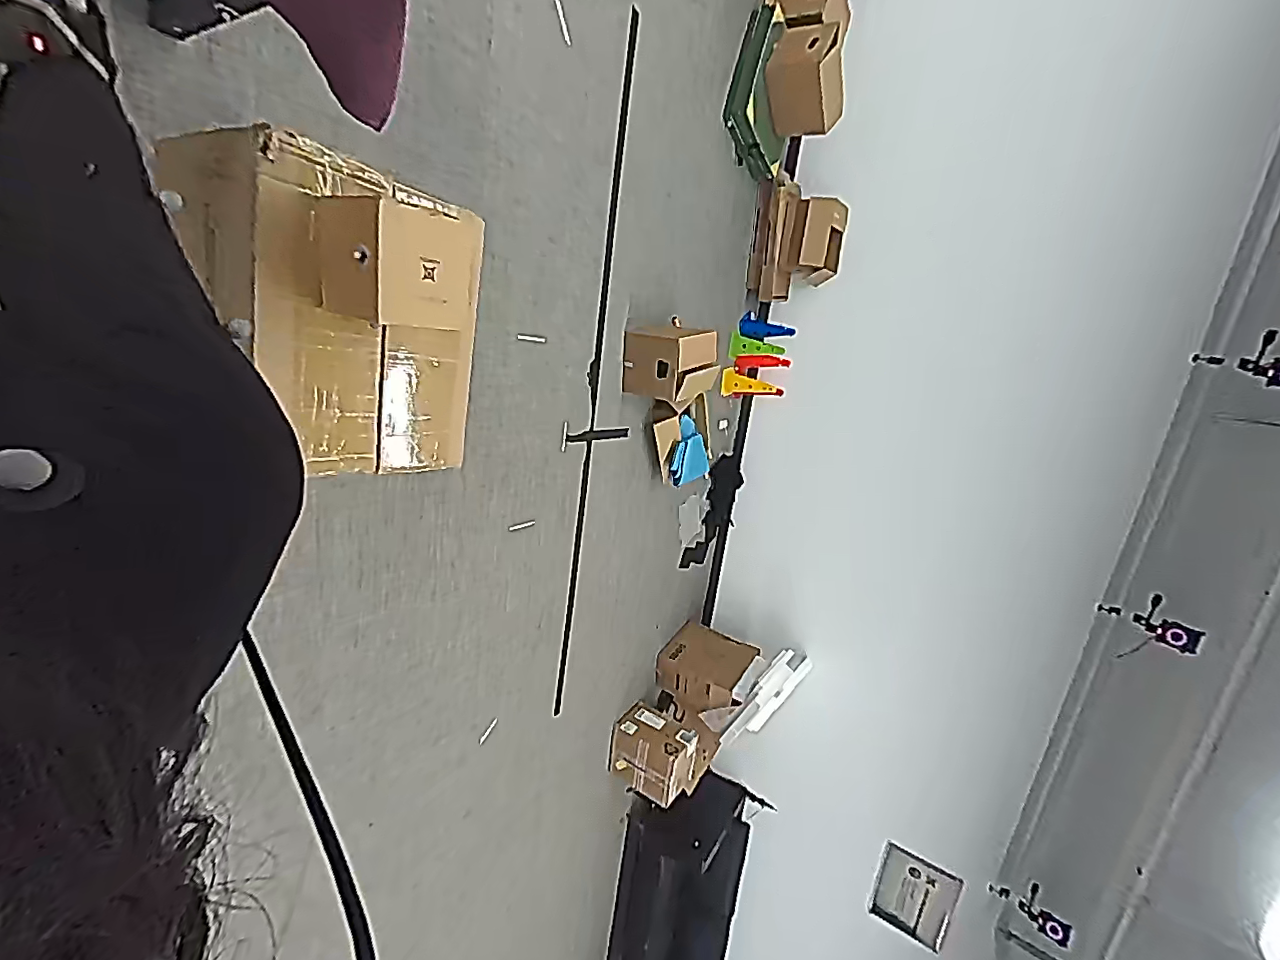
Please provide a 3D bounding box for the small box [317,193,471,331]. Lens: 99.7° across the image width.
[{"bbox_3d":[-0.397,-0.346,0.871,0.168,0.176,0.179,-15,118,-54],"label":"small box"}]
